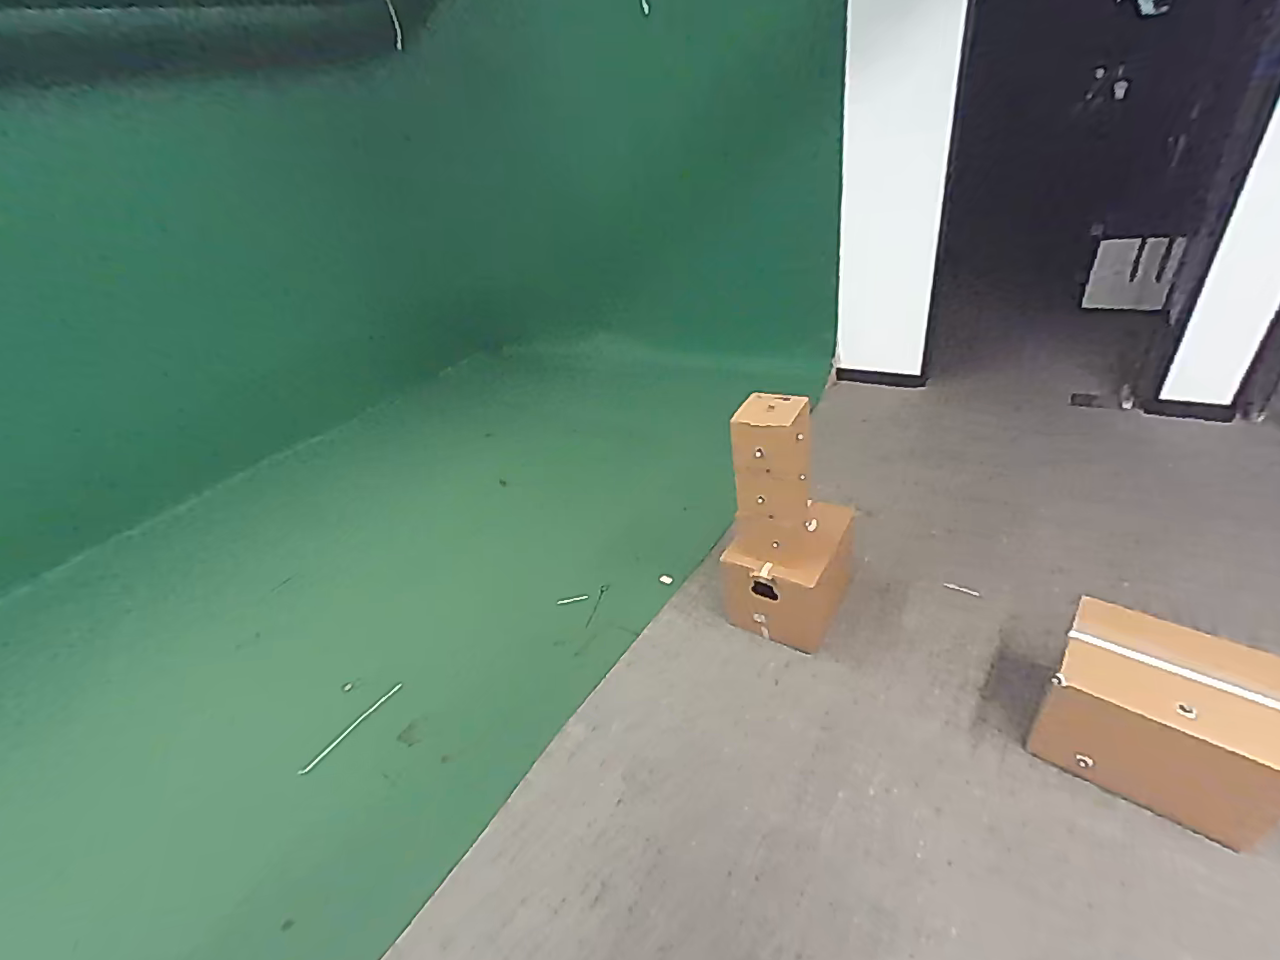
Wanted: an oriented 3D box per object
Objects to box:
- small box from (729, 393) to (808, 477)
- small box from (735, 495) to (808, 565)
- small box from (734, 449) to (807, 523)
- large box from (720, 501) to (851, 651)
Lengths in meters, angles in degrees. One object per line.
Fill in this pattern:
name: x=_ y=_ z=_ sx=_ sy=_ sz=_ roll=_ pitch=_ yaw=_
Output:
small box: x=0.368 y=-0.127 z=1.522 sx=0.168 sy=0.176 sz=0.179 roll=12 pitch=41 yaw=31
small box: x=0.419 y=0.143 z=1.703 sx=0.179 sy=0.176 sz=0.168 roll=13 pitch=40 yaw=33
small box: x=0.395 y=0.006 z=1.615 sx=0.168 sy=0.176 sz=0.179 roll=11 pitch=39 yaw=29
large box: x=0.513 y=0.306 z=1.873 sx=0.320 sy=0.320 sz=0.408 roll=14 pitch=41 yaw=33
